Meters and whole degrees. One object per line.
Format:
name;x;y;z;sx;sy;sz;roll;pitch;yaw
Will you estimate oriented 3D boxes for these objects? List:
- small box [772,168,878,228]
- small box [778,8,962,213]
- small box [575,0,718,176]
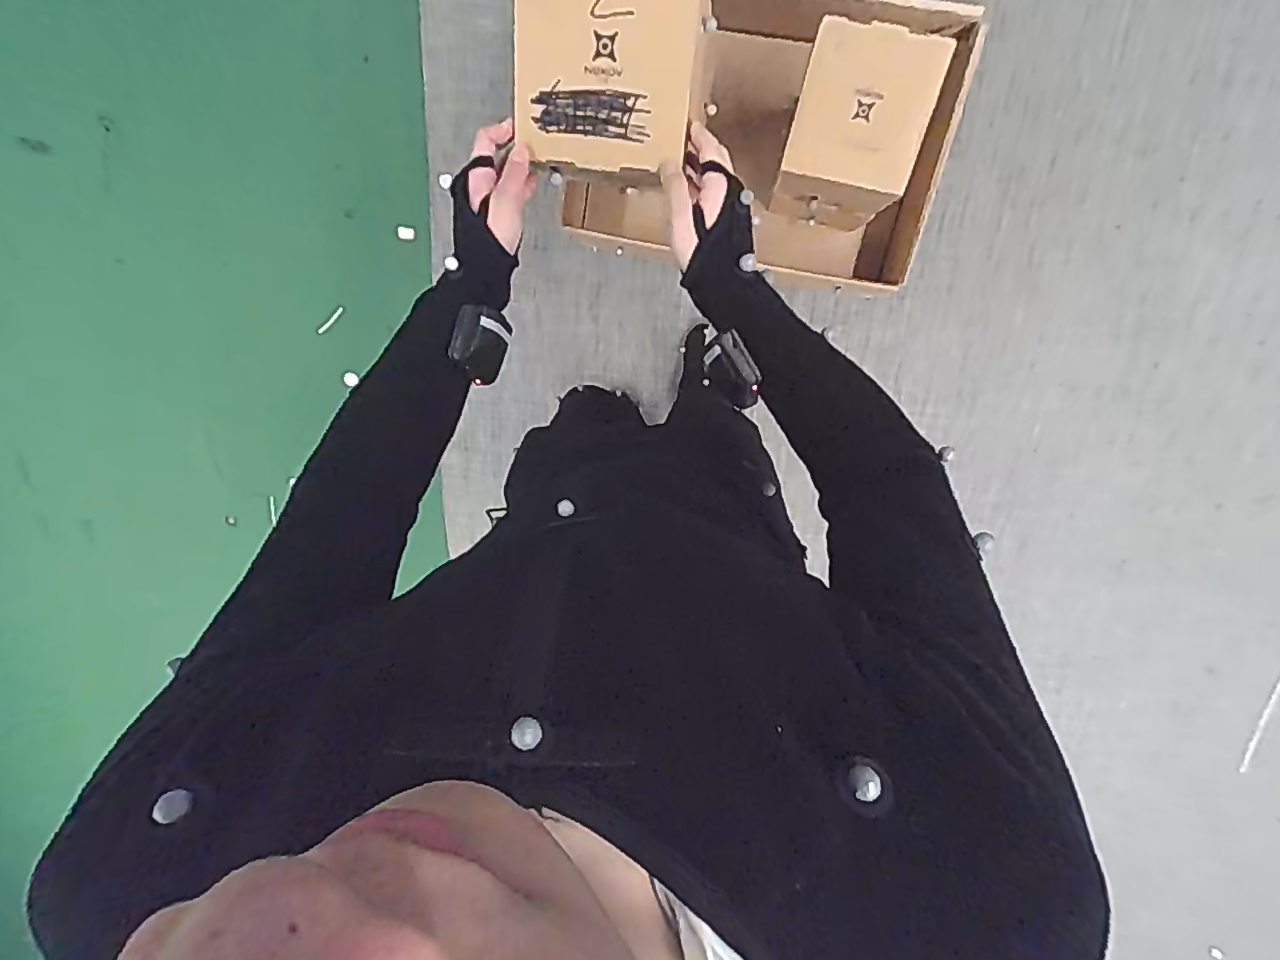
small box;0.327;-0.541;0.902;0.168;0.176;0.179;16;110;4
small box;0.298;-0.493;0.749;0.168;0.176;0.179;16;109;4
small box;0.015;-0.559;0.772;0.168;0.176;0.179;10;108;6
